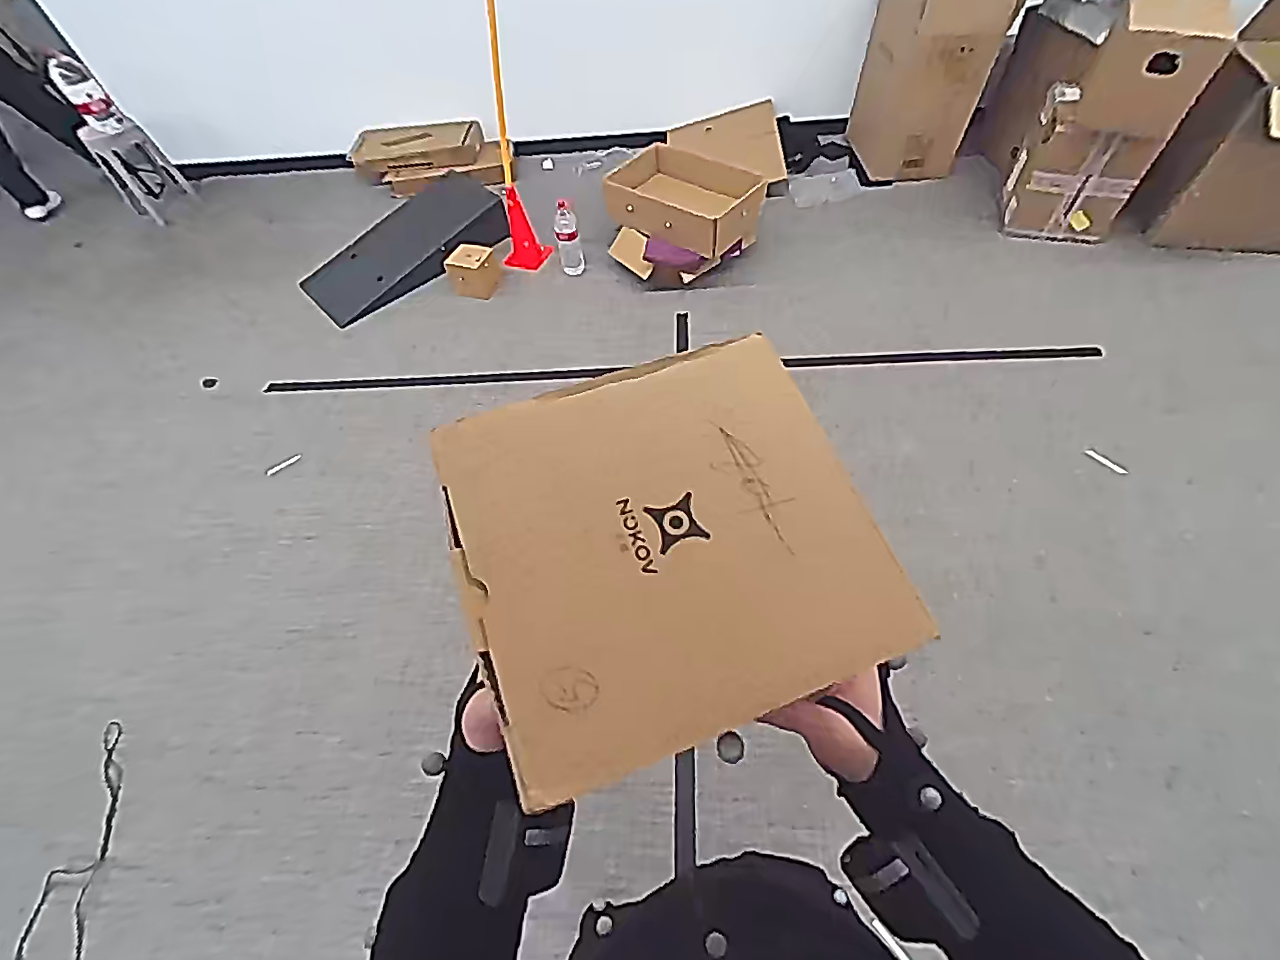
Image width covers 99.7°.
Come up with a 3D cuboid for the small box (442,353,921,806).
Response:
[{"bbox_3d":[0.010,0.060,0.316,0.179,0.176,0.168,-18,69,-11],"label":"small box"}]
